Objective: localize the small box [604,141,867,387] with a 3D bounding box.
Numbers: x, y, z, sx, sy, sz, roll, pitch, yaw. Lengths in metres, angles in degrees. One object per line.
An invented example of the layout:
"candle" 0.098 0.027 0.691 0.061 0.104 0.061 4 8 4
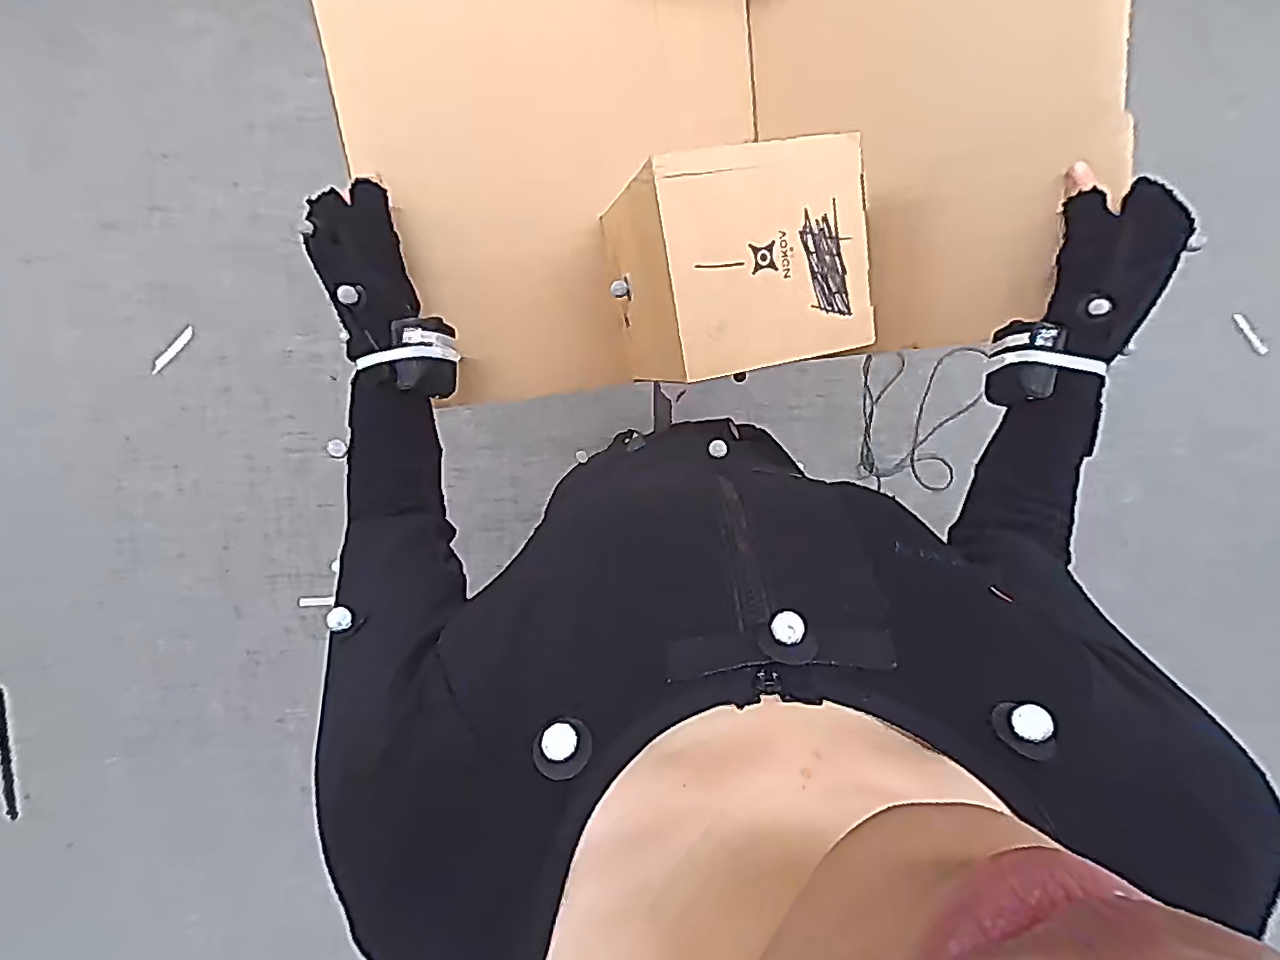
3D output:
"small box" 0.079 -0.187 0.502 0.179 0.176 0.168 -14 105 -12
